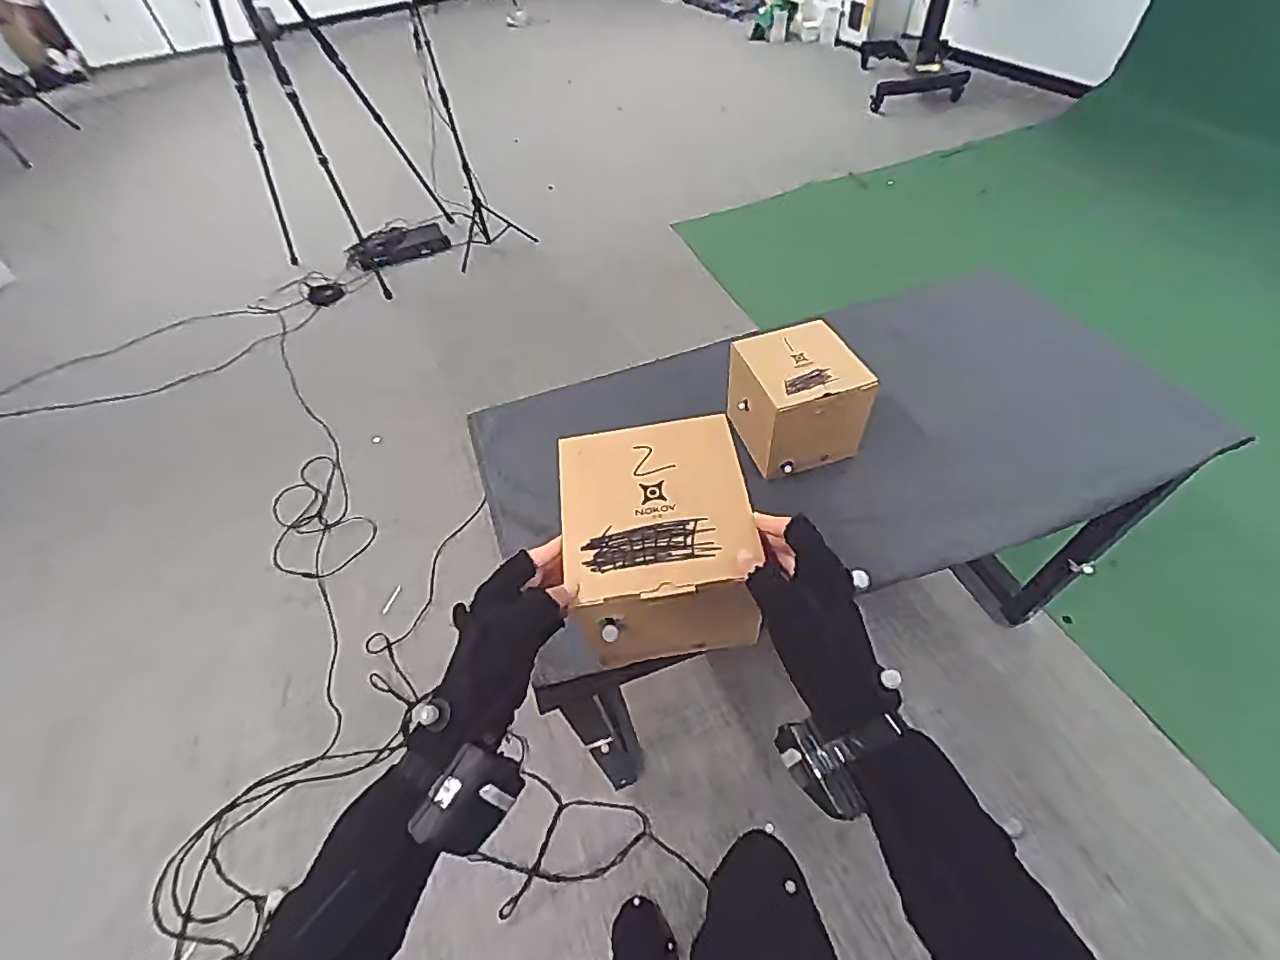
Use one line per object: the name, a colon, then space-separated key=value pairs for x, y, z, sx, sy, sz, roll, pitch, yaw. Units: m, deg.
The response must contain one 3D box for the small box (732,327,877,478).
small box: x=0.261 y=-0.122 z=0.904 sx=0.168 sy=0.176 sz=0.179 roll=-15 pitch=50 yaw=-6
